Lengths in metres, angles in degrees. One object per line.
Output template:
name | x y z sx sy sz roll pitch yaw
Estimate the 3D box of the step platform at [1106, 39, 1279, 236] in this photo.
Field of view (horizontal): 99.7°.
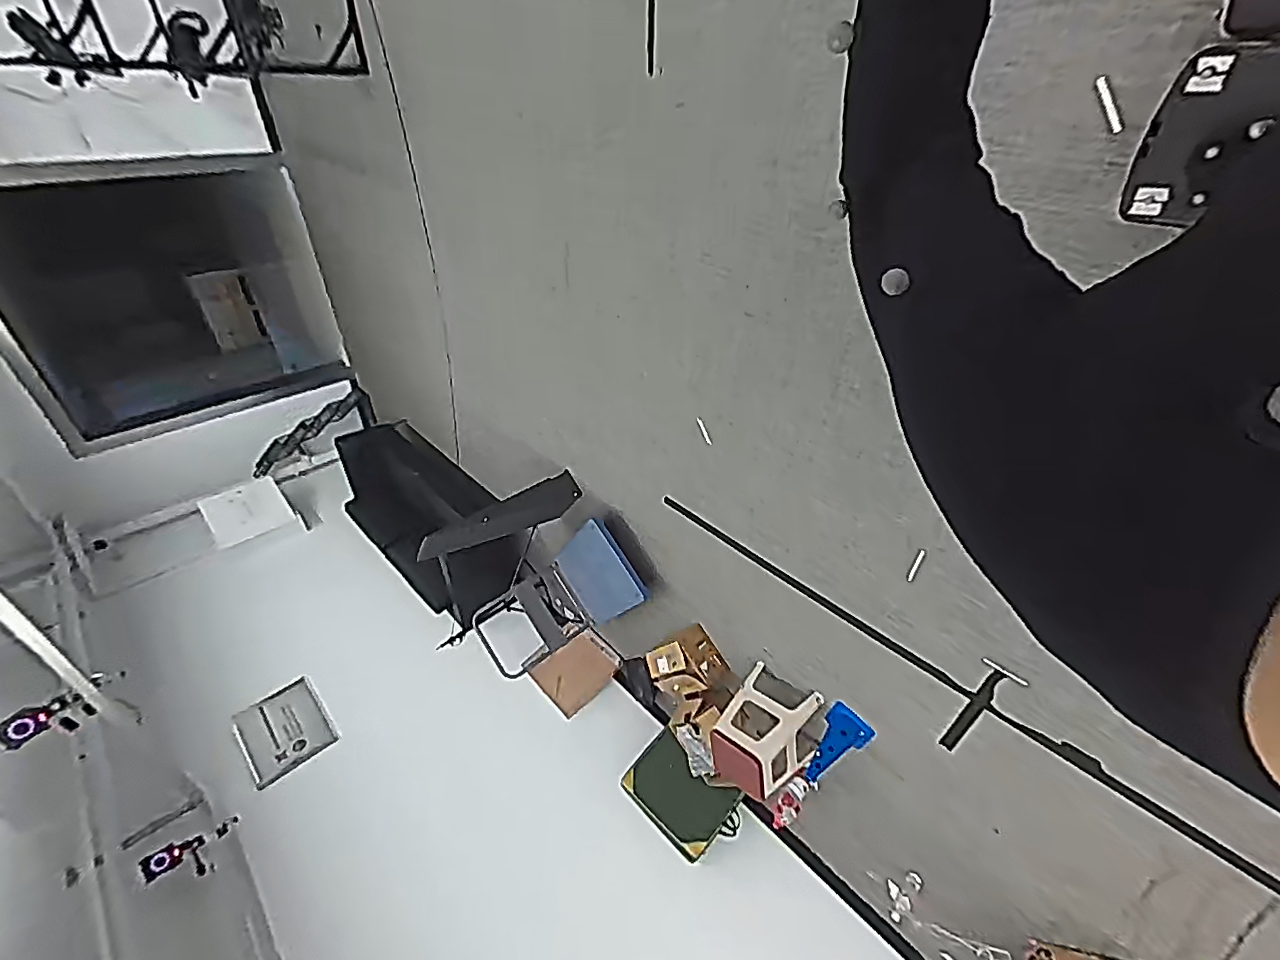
step platform | 1.215 -0.547 0.878 0.684 0.204 0.286 32 136 37
